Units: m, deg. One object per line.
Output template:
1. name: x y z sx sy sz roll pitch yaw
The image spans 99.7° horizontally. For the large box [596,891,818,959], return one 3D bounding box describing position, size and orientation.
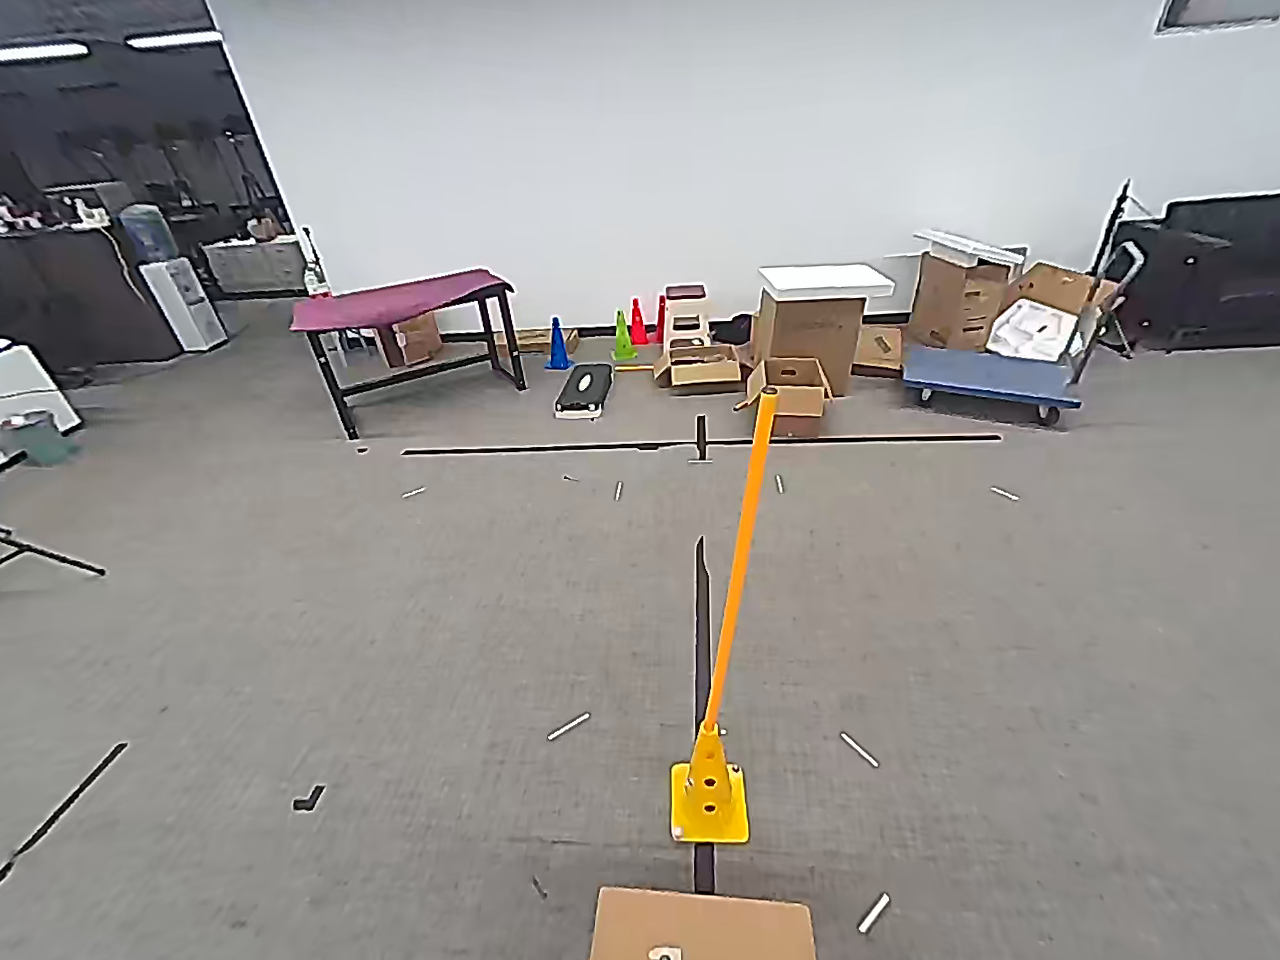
1. large box: 0.127 1.015 1.000 0.408 0.320 0.320 -1 31 7
